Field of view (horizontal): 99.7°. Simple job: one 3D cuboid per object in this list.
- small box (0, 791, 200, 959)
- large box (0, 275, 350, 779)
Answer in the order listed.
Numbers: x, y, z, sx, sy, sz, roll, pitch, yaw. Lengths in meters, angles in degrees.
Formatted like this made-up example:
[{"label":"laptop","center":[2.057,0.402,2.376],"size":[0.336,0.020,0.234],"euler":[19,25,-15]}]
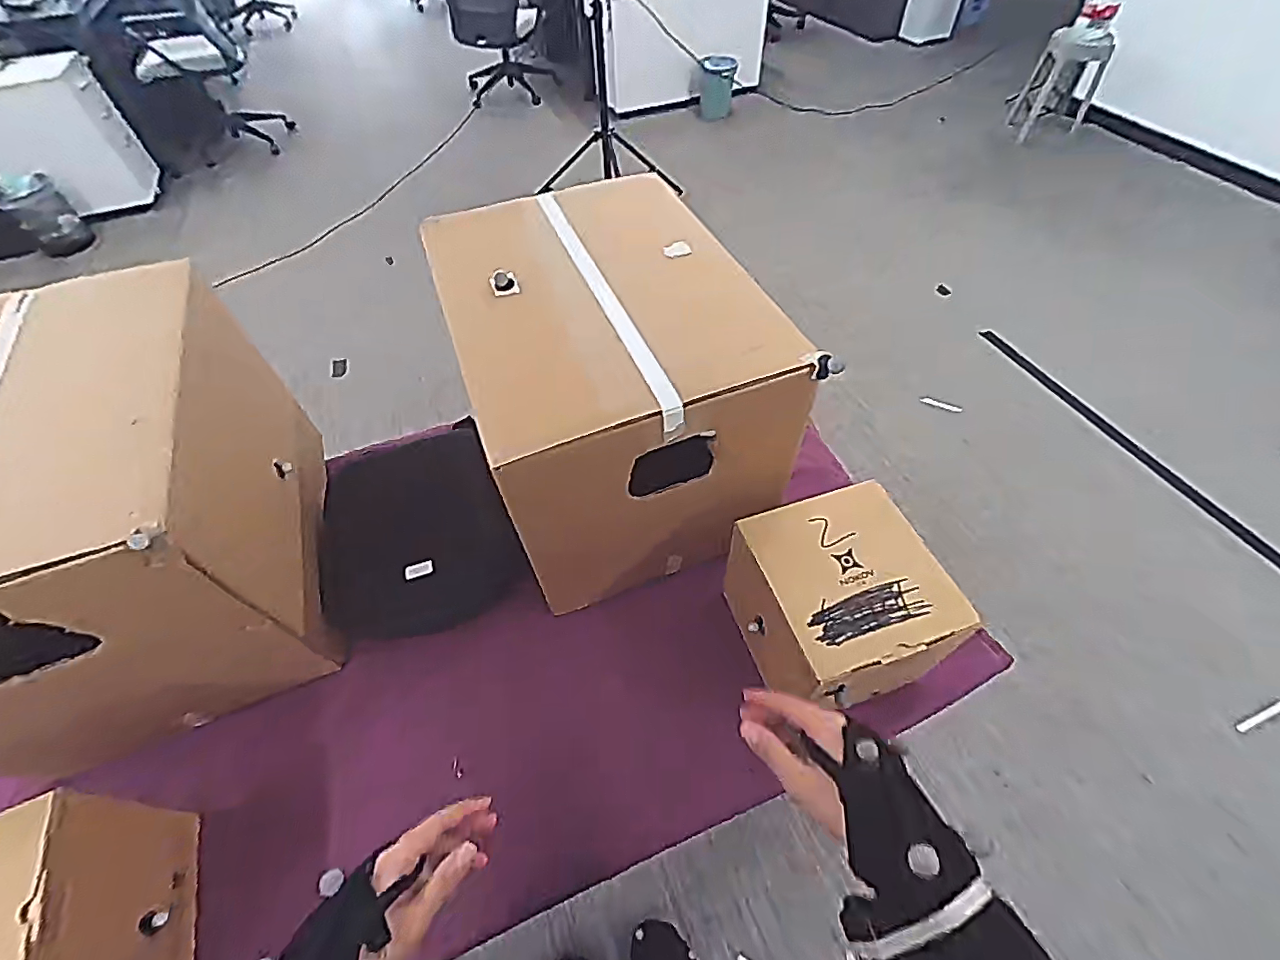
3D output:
[{"label":"small box","center":[-0.502,0.385,0.427],"size":[0.179,0.176,0.168],"euler":[-22,54,-15]},{"label":"large box","center":[-0.569,0.044,0.604],"size":[0.320,0.320,0.408],"euler":[-21,57,-13]}]
